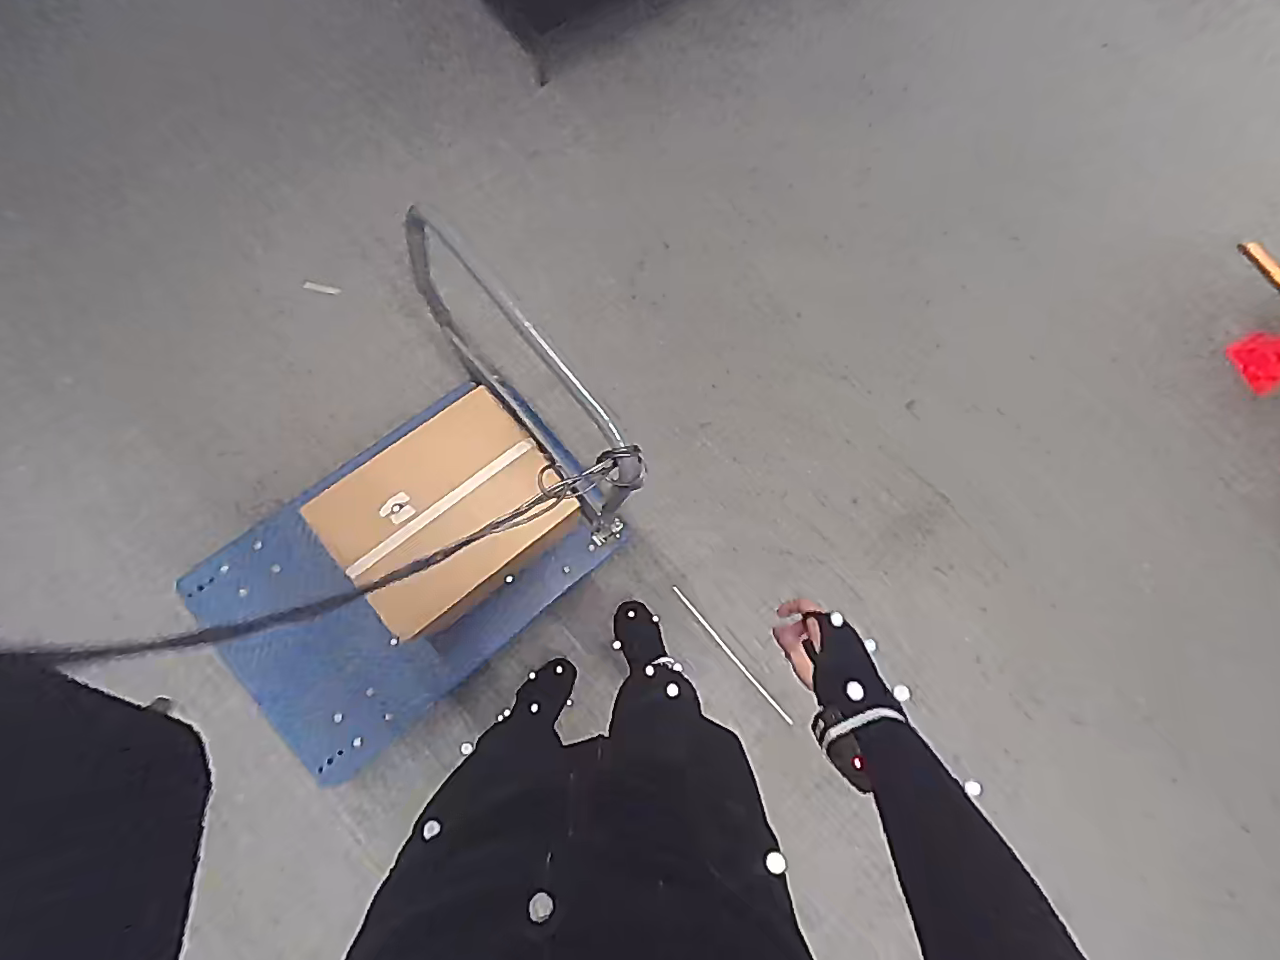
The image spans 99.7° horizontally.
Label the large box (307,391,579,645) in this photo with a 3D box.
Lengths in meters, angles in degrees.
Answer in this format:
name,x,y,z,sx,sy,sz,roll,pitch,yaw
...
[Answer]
name,x,y,z,sx,sy,sz,roll,pitch,yaw
large box,-0.380,0.084,1.155,0.408,0.320,0.320,-38,85,-13
